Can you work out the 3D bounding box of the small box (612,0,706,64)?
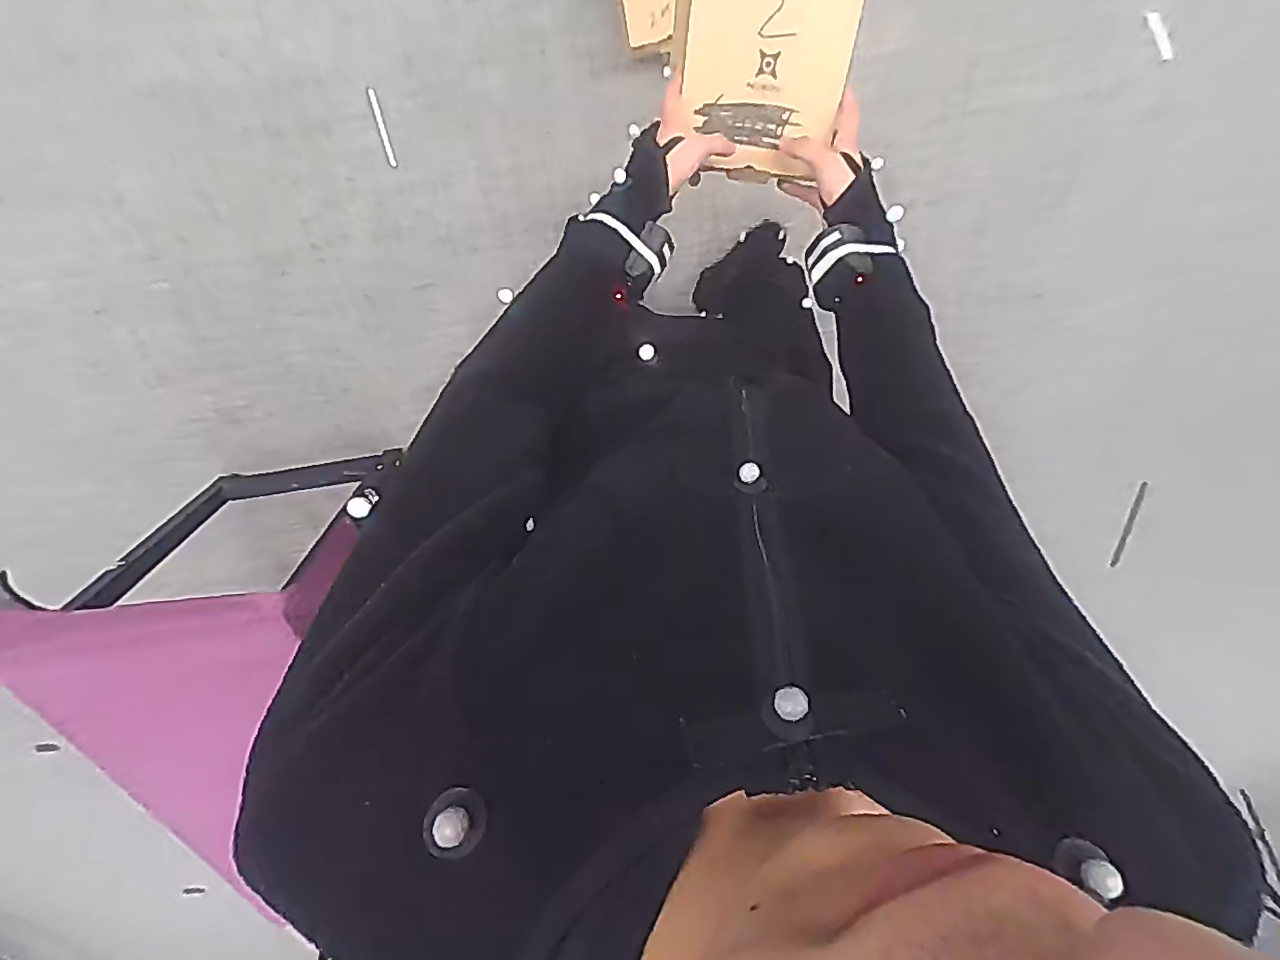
[{"bbox_3d":[0.031,-0.979,1.098,0.168,0.176,0.179,-11,122,2],"label":"small box"}]
